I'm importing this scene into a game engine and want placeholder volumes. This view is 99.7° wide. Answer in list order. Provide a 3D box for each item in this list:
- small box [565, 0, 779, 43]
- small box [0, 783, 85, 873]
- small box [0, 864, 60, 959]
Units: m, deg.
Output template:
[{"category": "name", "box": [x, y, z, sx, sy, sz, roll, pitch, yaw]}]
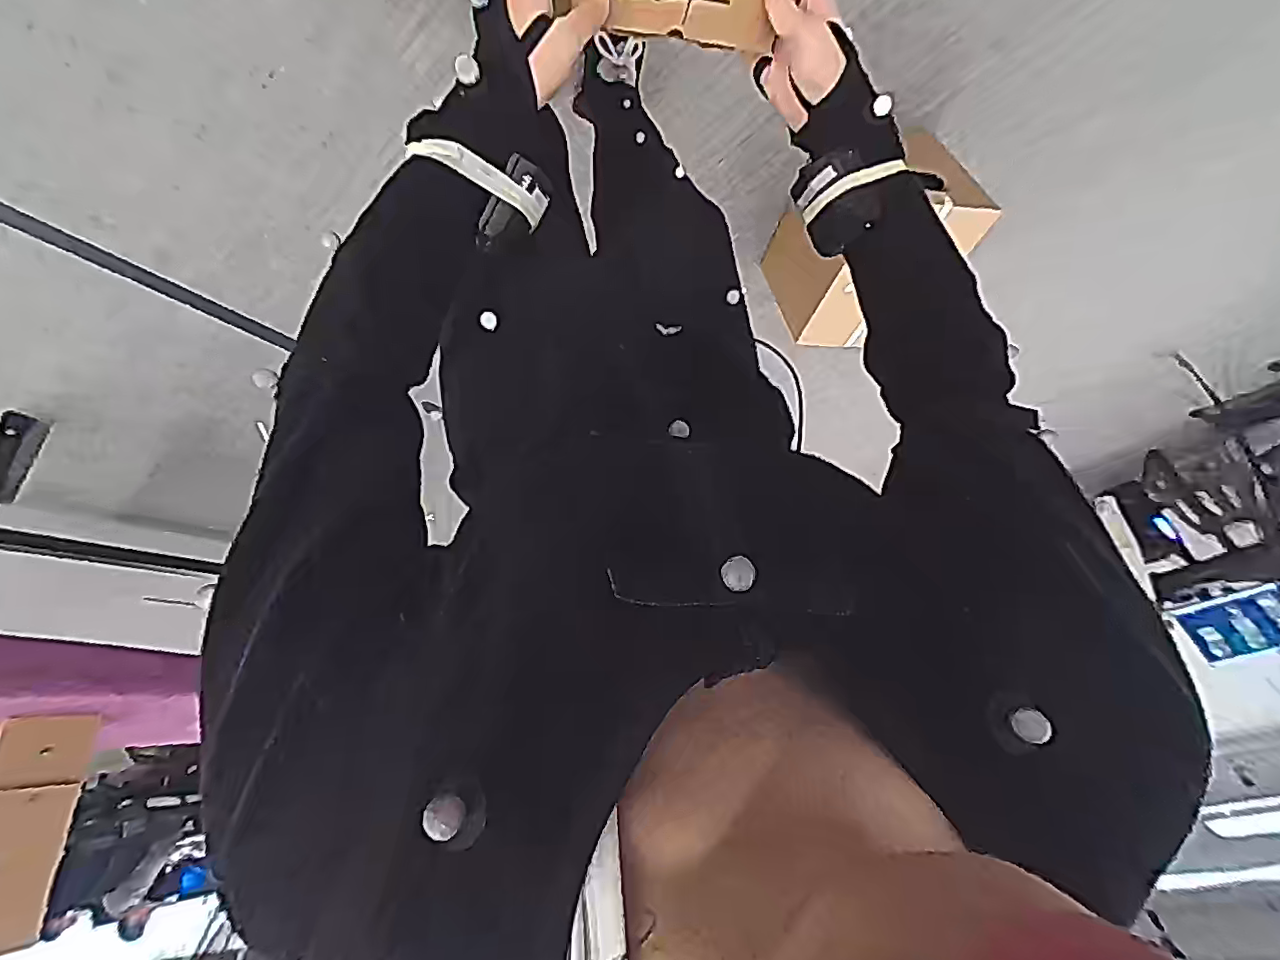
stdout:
[{"category": "small box", "box": [0.023, -0.461, 0.385, 0.168, 0.176, 0.179, -6, 148, -18]}, {"category": "small box", "box": [-1.487, 0.842, 1.291, 0.168, 0.176, 0.179, -33, 145, 31]}, {"category": "small box", "box": [-1.460, 0.984, 1.215, 0.168, 0.176, 0.179, -33, 145, 30]}]
